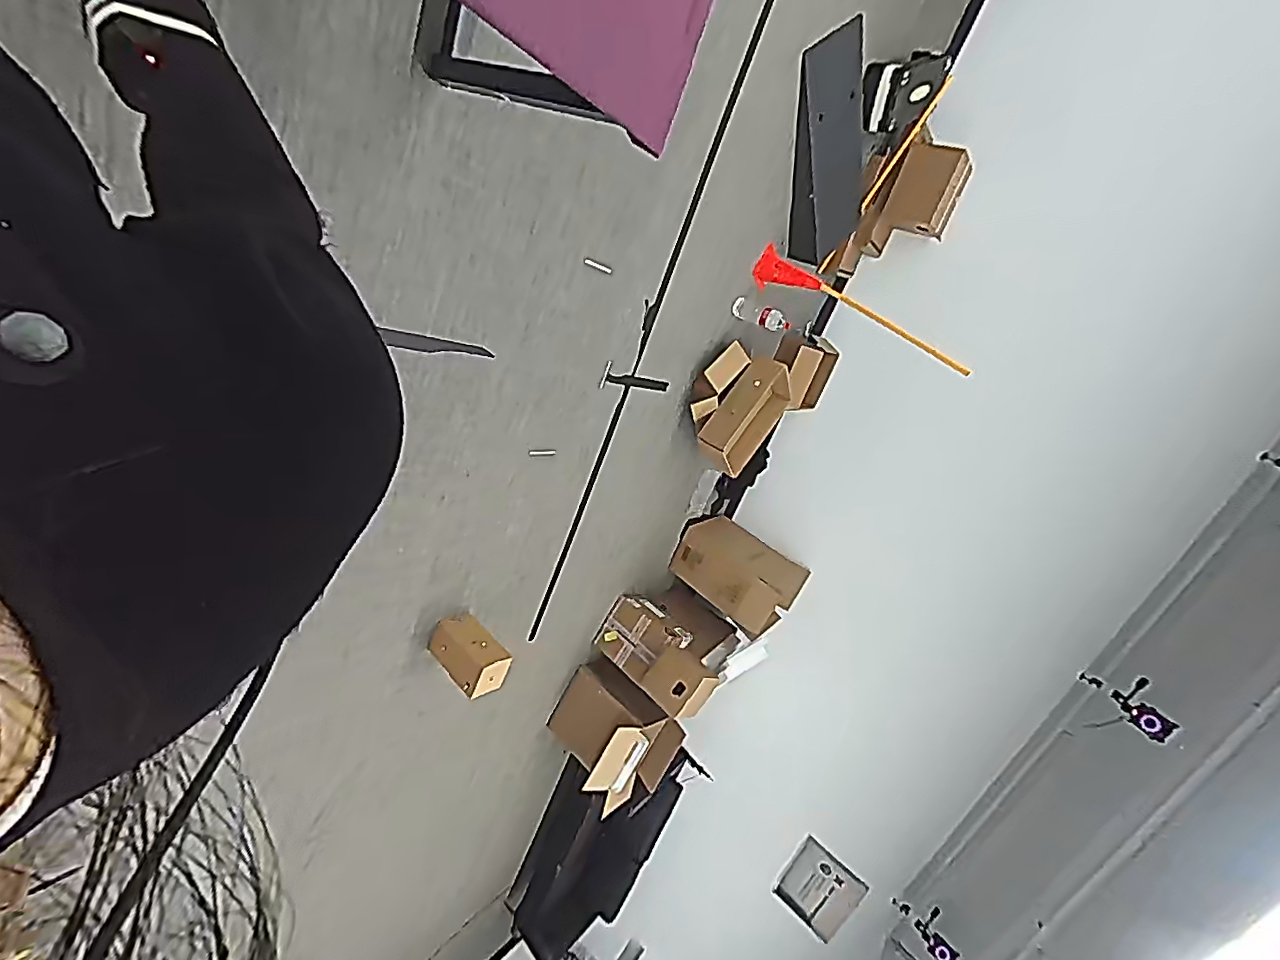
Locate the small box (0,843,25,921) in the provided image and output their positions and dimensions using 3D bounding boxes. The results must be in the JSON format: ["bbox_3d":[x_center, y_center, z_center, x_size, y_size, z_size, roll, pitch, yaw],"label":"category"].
[{"bbox_3d":[-1.741,1.091,1.401,0.168,0.176,0.179,-12,130,-52],"label":"small box"}]

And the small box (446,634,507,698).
[{"bbox_3d":[-0.716,0.804,2.350,0.168,0.176,0.179,-1,119,-58],"label":"small box"}]

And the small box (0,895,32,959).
[{"bbox_3d":[-1.622,1.170,1.318,0.168,0.176,0.179,-11,128,-53],"label":"small box"}]
